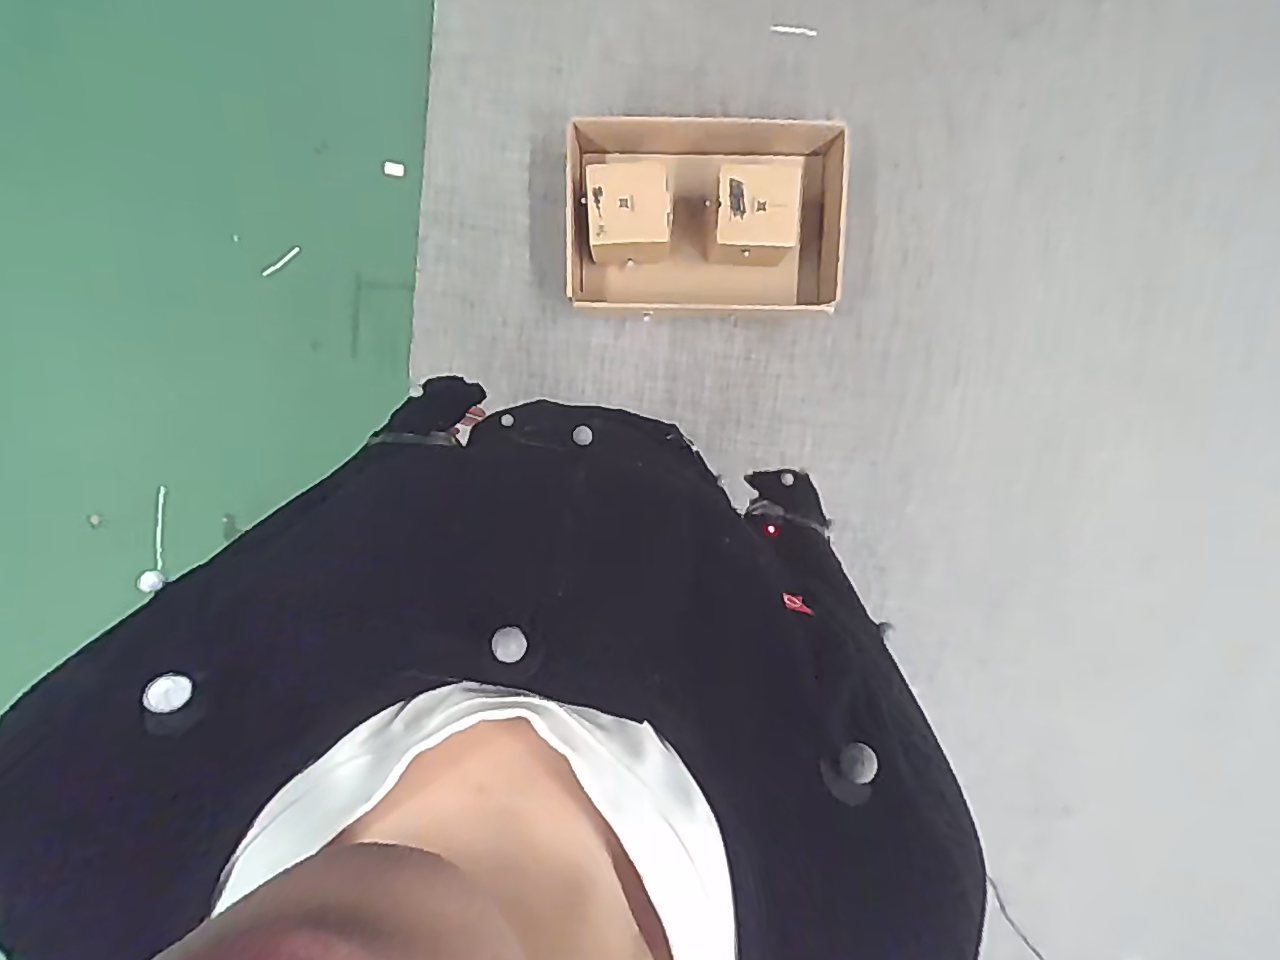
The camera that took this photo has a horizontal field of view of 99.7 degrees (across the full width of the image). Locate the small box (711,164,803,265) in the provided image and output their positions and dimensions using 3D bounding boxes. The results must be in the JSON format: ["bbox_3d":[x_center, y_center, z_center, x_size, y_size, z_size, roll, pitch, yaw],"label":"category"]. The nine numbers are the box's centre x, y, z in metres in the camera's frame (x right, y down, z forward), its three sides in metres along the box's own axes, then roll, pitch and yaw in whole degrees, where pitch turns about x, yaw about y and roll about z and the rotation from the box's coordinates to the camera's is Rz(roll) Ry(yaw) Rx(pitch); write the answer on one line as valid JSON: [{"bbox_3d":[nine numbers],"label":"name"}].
[{"bbox_3d":[0.261,-0.603,1.247,0.179,0.176,0.168,3,98,1],"label":"small box"}]

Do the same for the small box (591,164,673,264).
[{"bbox_3d":[-0.020,-0.606,1.248,0.179,0.176,0.168,-2,97,-1],"label":"small box"}]
